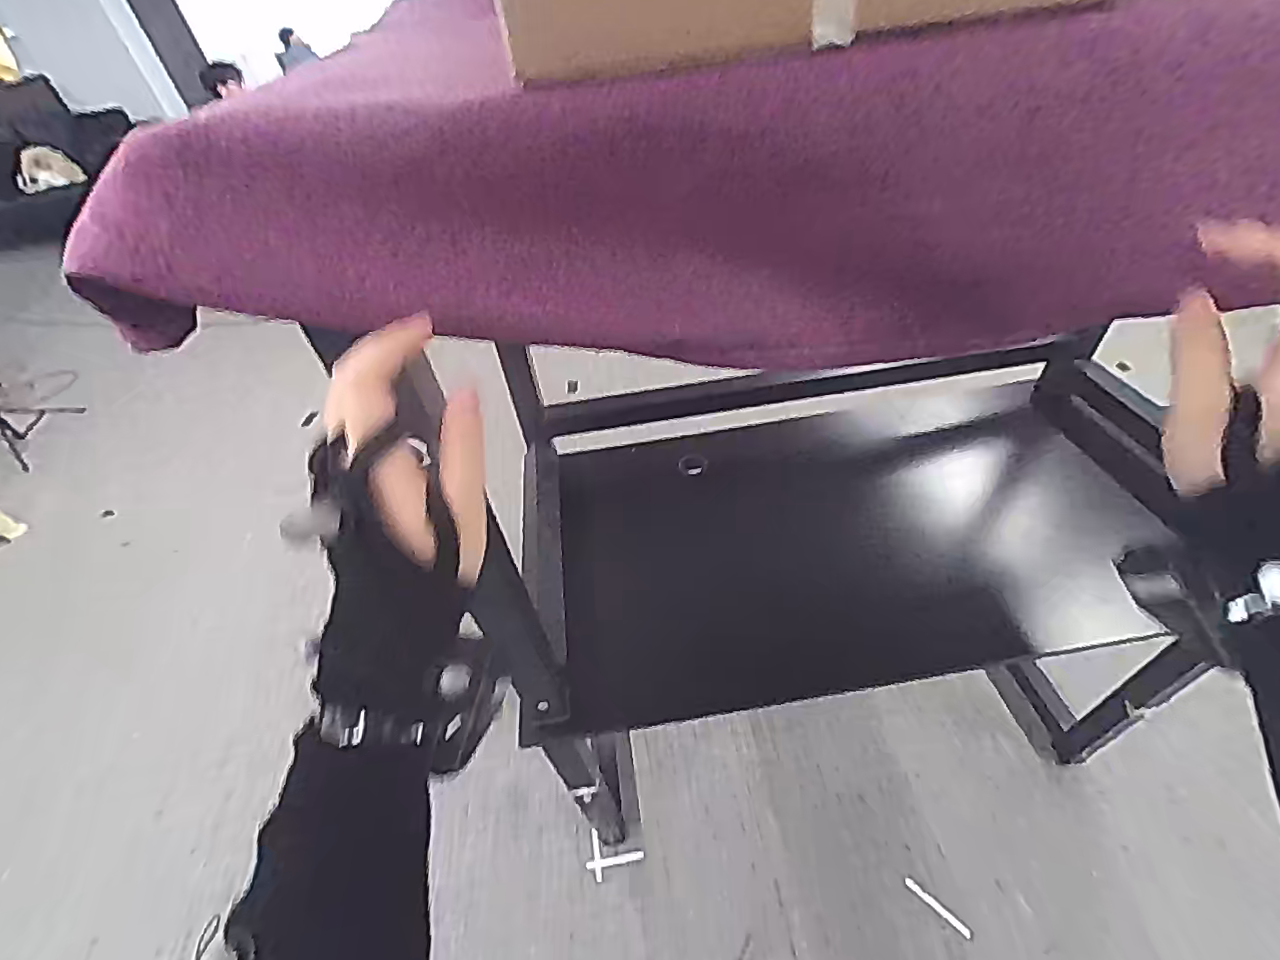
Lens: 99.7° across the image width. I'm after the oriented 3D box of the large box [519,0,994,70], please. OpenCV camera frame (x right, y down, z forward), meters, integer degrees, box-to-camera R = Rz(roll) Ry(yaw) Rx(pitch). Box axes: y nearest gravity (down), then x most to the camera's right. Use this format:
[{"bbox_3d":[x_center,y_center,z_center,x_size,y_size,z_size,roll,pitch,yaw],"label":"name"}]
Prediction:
[{"bbox_3d":[0.052,-0.452,0.293,0.320,0.320,0.408,-10,43,-2],"label":"large box"}]
